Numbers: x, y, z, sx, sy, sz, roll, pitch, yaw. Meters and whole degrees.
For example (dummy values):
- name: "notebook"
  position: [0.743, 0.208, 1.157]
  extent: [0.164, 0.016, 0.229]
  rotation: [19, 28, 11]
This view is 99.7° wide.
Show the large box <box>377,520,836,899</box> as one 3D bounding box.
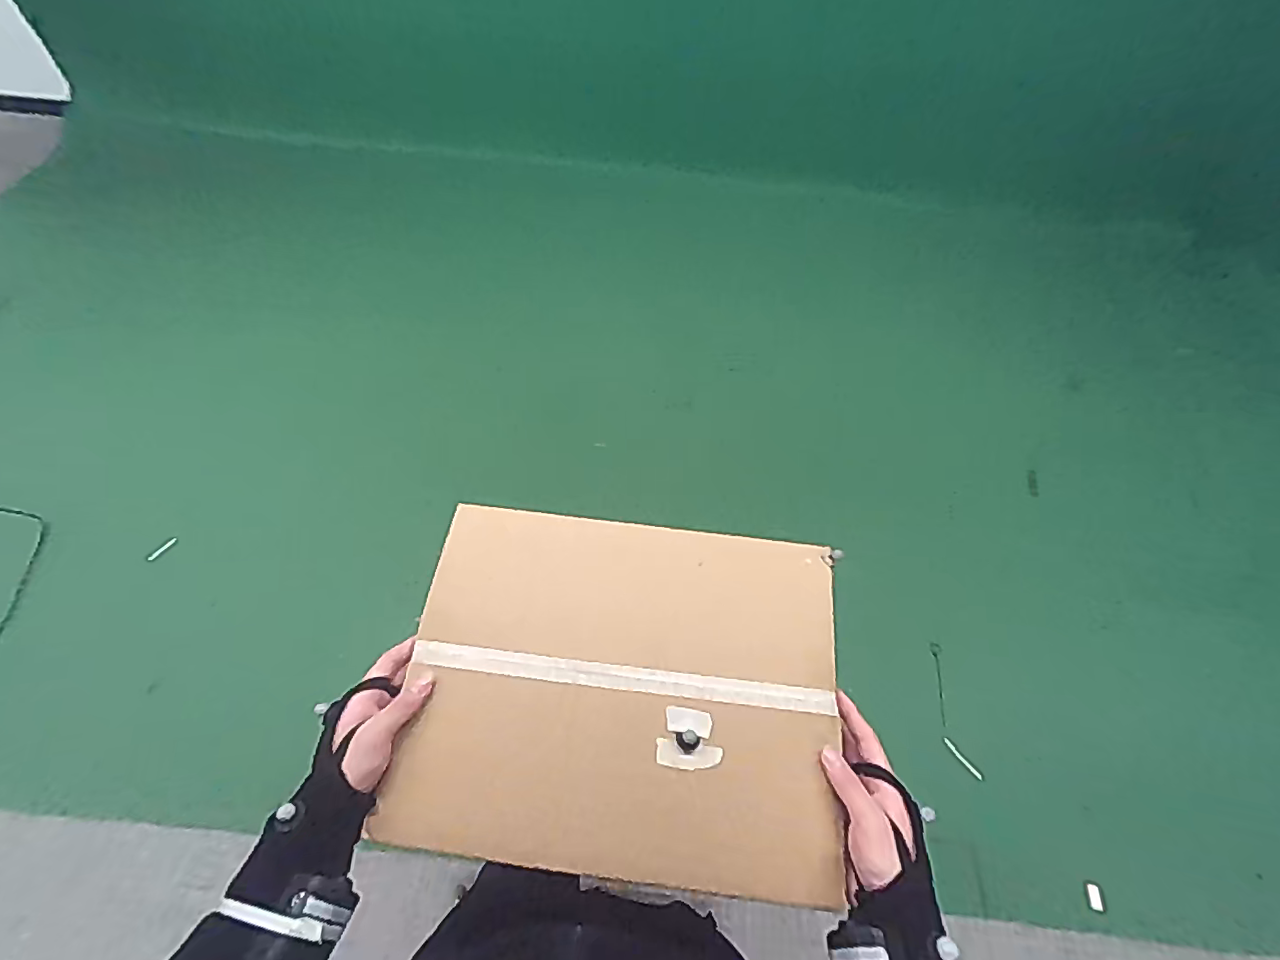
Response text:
- name: "large box"
  position: [-0.021, 0.266, 0.658]
  extent: [0.408, 0.320, 0.320]
  rotation: [6, 63, 2]
